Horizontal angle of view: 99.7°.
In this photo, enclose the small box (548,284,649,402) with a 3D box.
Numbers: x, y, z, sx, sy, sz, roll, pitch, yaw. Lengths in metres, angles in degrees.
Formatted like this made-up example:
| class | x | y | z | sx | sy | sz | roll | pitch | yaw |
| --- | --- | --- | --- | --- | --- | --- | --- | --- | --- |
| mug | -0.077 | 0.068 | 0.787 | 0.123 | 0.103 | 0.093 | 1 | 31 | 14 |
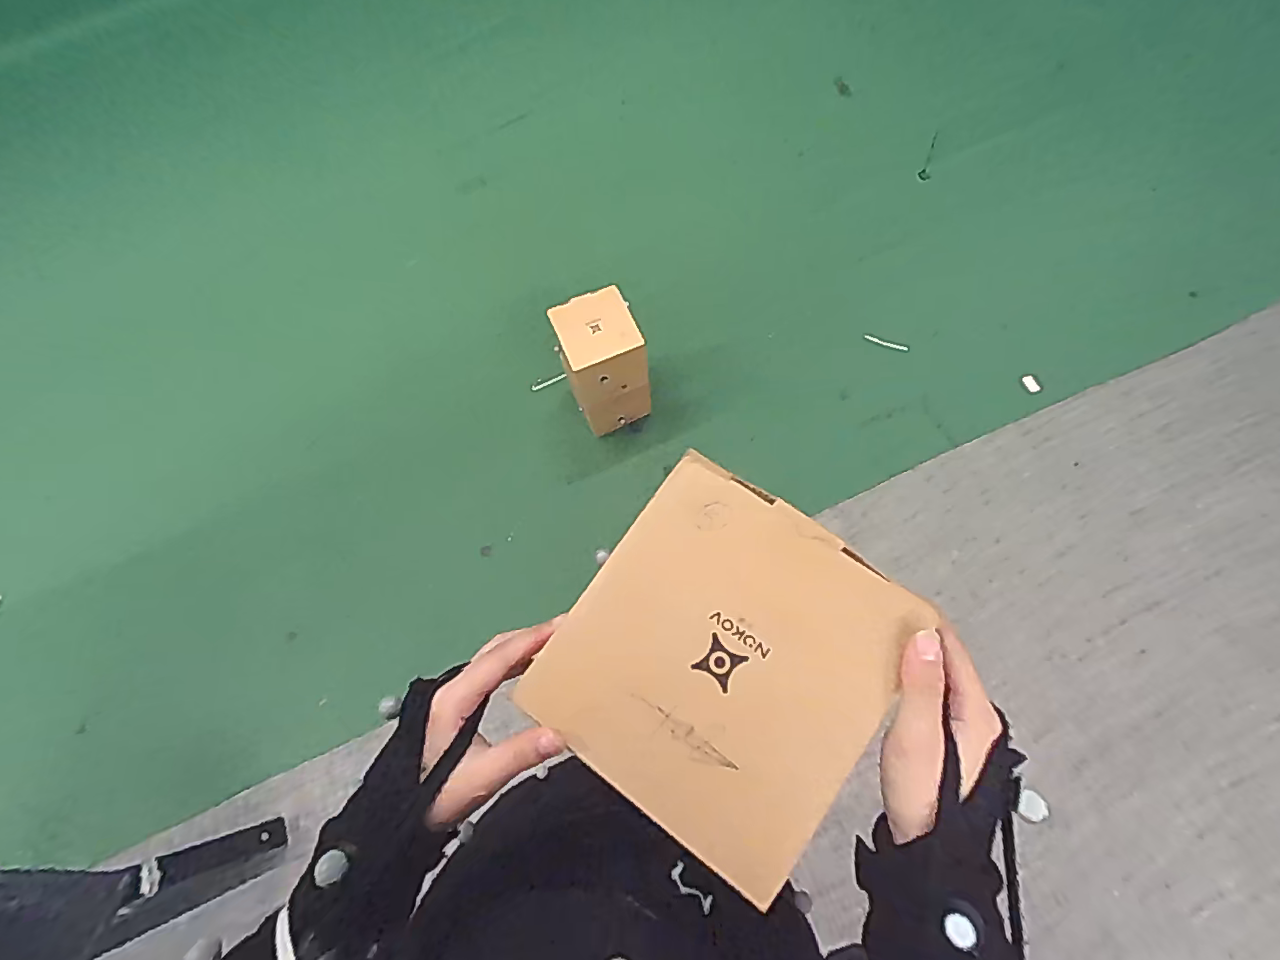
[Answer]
| class | x | y | z | sx | sy | sz | roll | pitch | yaw |
| --- | --- | --- | --- | --- | --- | --- | --- | --- | --- |
| small box | -0.087 | -0.299 | 1.225 | 0.168 | 0.176 | 0.179 | -23 | 69 | -4 |
